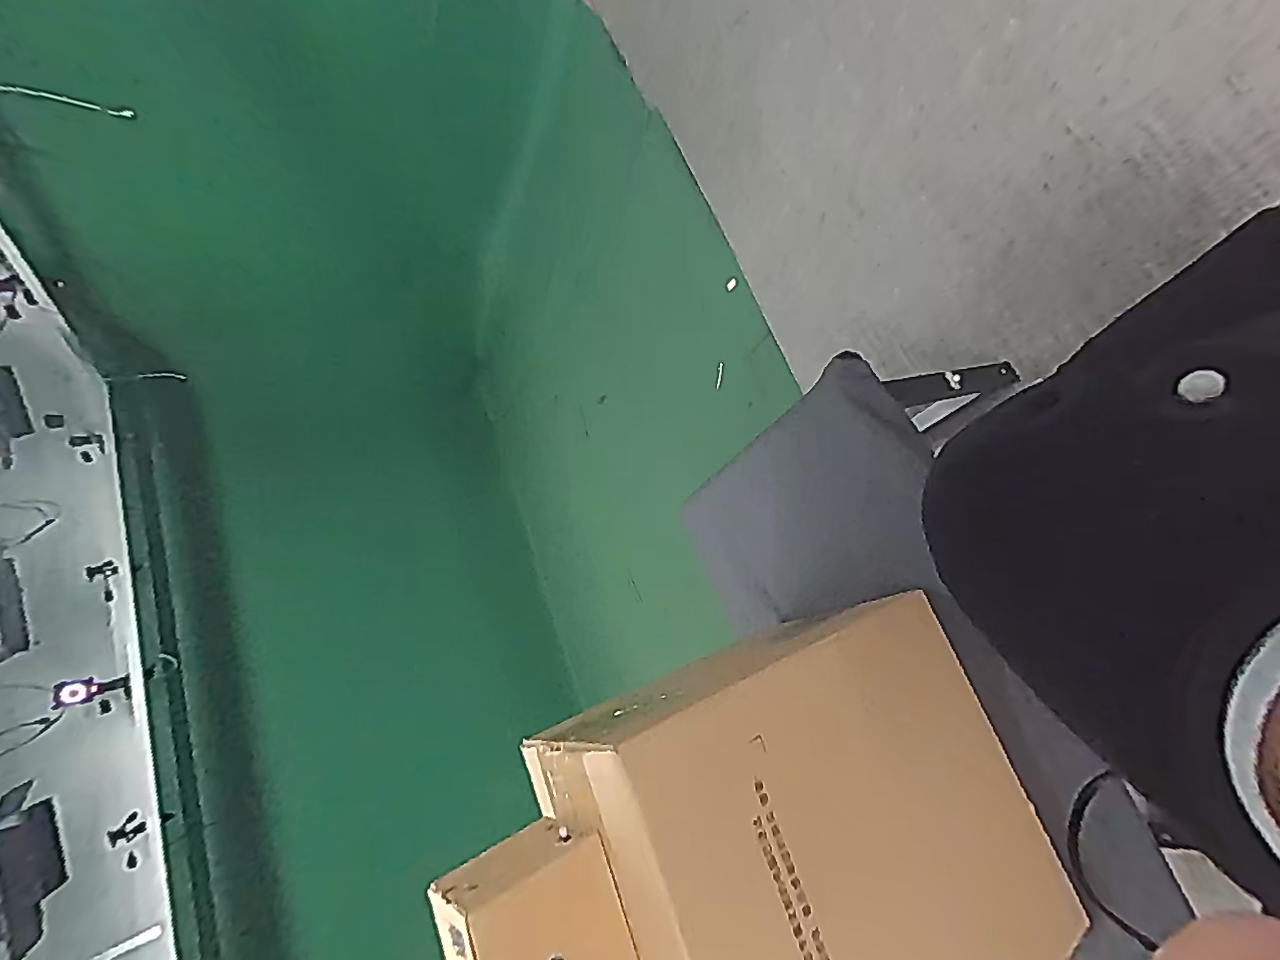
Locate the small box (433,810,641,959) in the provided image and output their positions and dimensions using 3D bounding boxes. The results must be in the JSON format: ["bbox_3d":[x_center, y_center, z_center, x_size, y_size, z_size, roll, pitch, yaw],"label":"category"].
[{"bbox_3d":[-0.127,0.533,0.654,0.168,0.176,0.179,-36,71,50],"label":"small box"}]
